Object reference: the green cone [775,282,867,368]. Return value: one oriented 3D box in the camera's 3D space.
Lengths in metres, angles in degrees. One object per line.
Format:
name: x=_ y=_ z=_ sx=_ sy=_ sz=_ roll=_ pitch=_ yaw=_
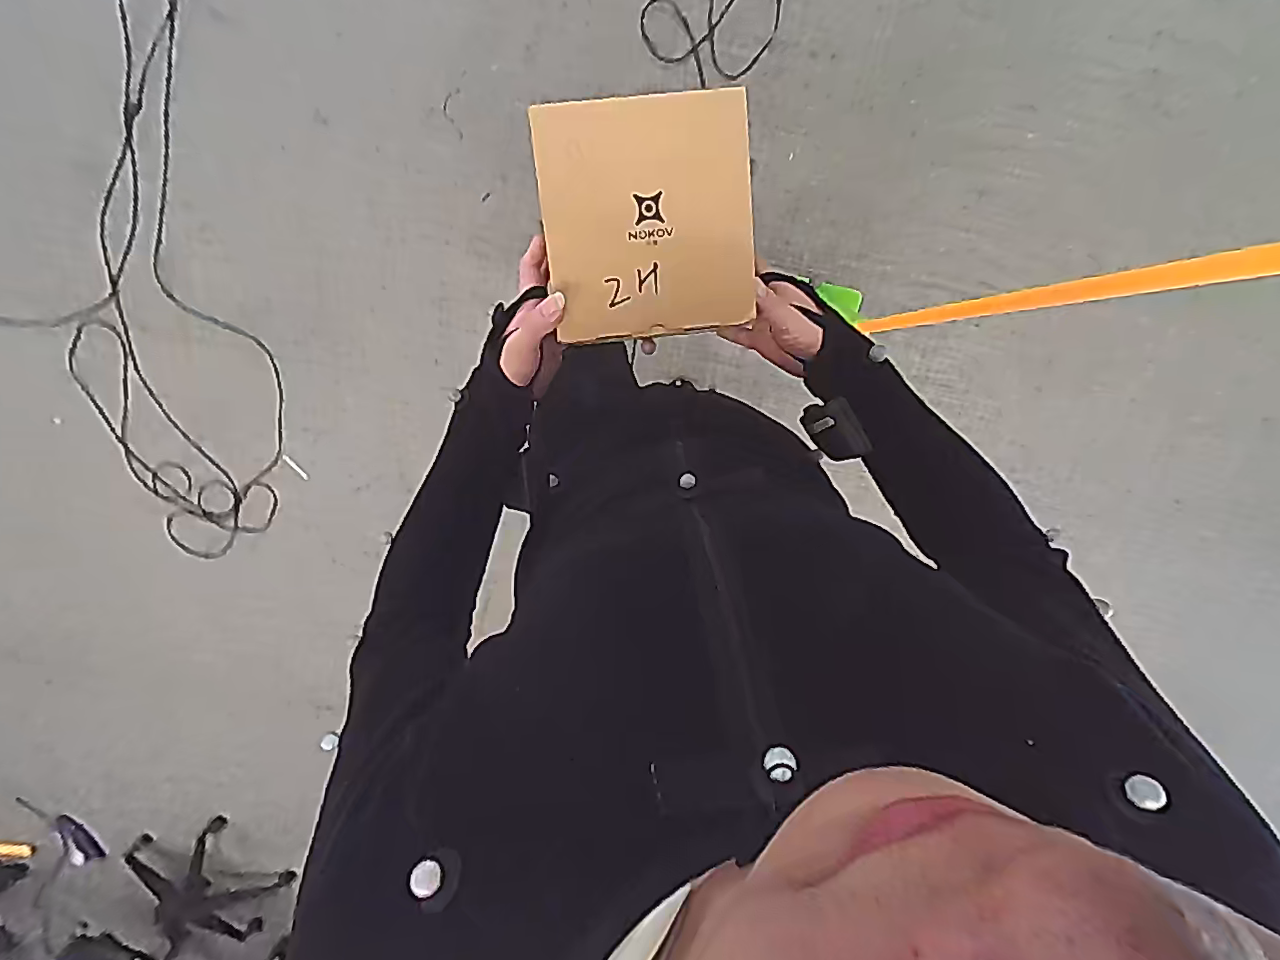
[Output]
green cone: x=0.478 y=-0.372 z=1.317 sx=0.202 sy=0.368 sz=0.200 roll=12 pitch=107 yaw=-1
